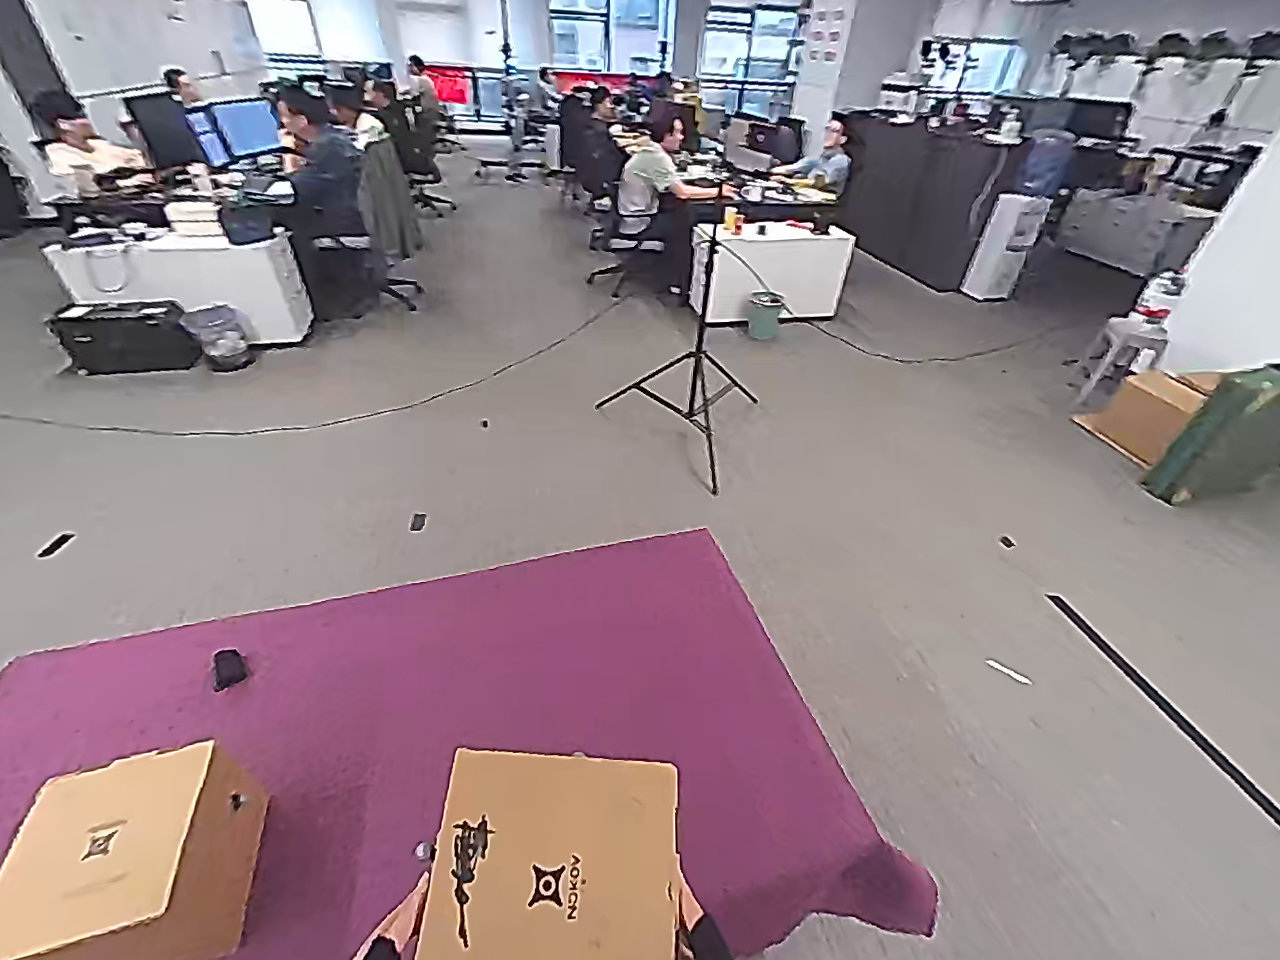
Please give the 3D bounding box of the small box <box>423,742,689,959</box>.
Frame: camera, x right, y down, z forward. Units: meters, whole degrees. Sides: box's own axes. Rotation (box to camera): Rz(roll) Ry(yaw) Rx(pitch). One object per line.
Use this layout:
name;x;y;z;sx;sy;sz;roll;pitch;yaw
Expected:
small box;-0.070;0.323;0.438;0.179;0.176;0.168;11;53;-11

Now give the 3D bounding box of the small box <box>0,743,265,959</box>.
small box;-0.550;0.436;0.603;0.168;0.176;0.179;-10;40;-15
